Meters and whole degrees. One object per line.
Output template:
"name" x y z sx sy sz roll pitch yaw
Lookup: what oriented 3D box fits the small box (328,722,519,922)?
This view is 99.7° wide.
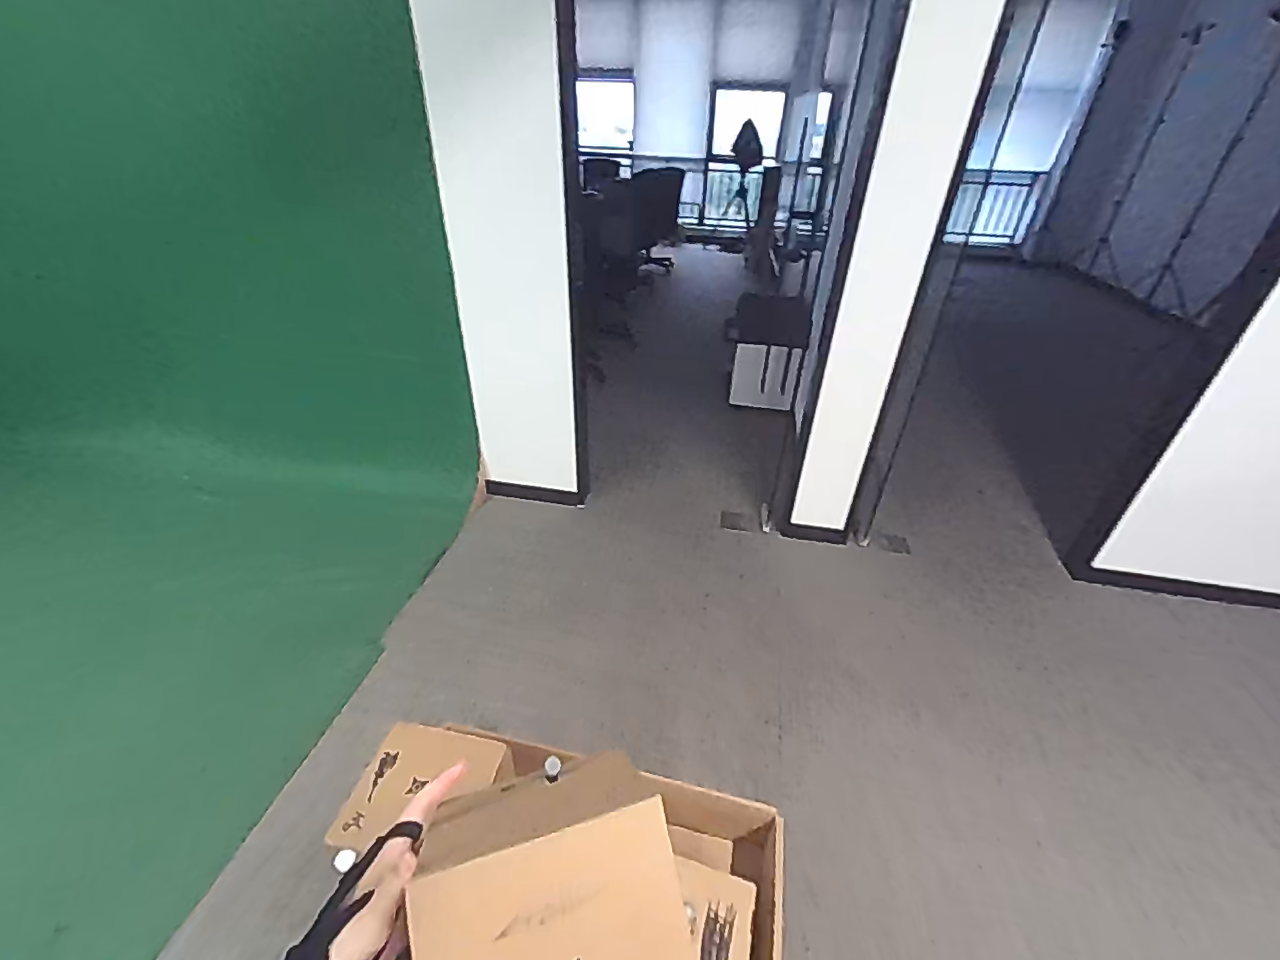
"small box" -0.281 0.474 0.751 0.179 0.176 0.168 8 34 9
